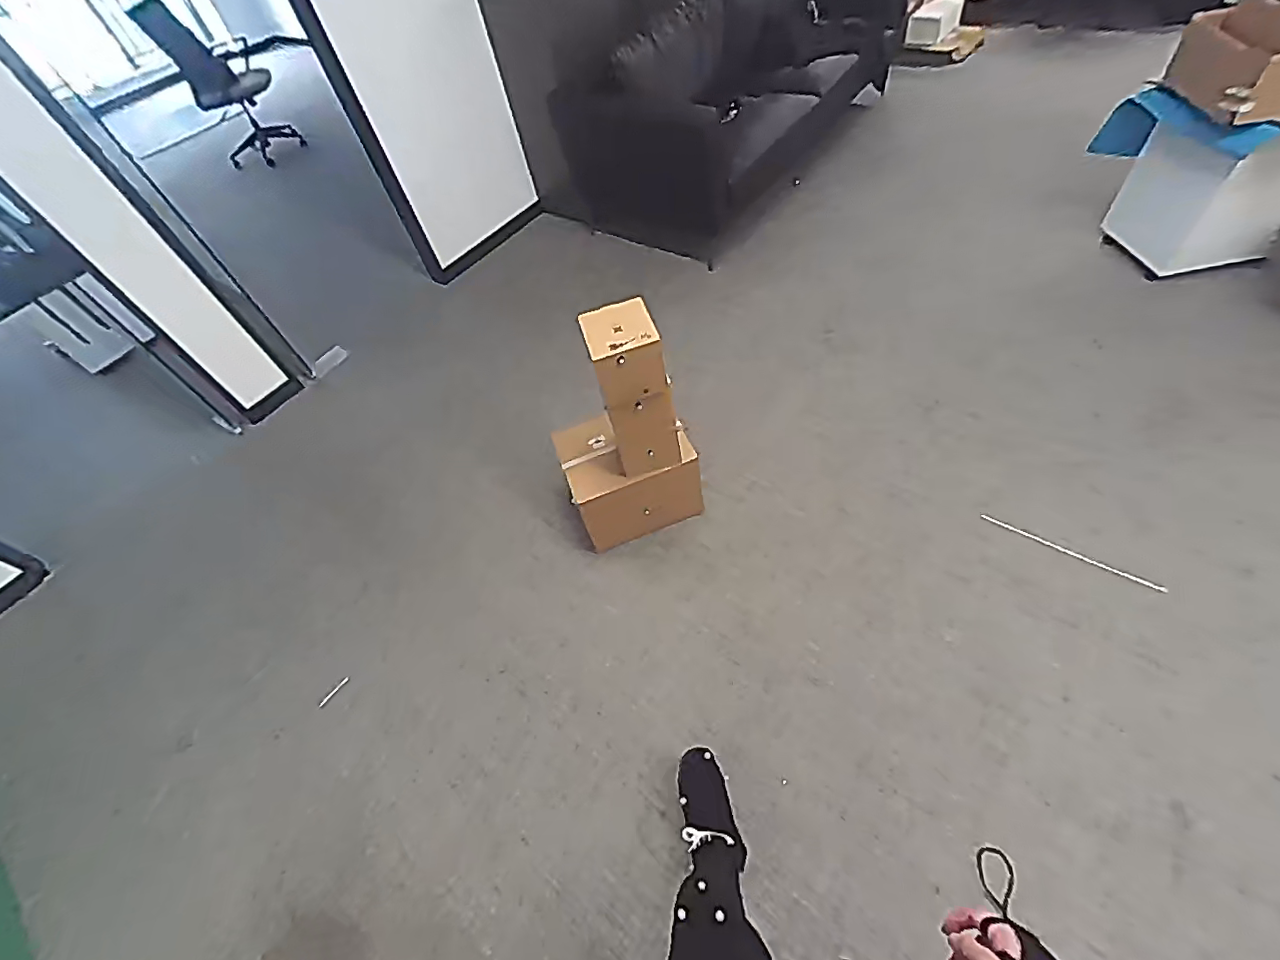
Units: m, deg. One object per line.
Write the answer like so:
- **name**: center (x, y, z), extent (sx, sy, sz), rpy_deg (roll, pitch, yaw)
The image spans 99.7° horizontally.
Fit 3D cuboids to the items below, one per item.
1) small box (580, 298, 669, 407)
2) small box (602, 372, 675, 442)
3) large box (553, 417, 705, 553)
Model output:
- **small box**: center (-0.037, -0.313, 1.336), extent (0.168, 0.176, 0.179), rpy_deg (-19, 53, -1)
- **small box**: center (-0.009, -0.233, 1.477), extent (0.179, 0.176, 0.168), rpy_deg (-19, 54, -2)
- **large box**: center (-0.031, -0.013, 1.832), extent (0.408, 0.320, 0.320), rpy_deg (-22, 52, -5)
